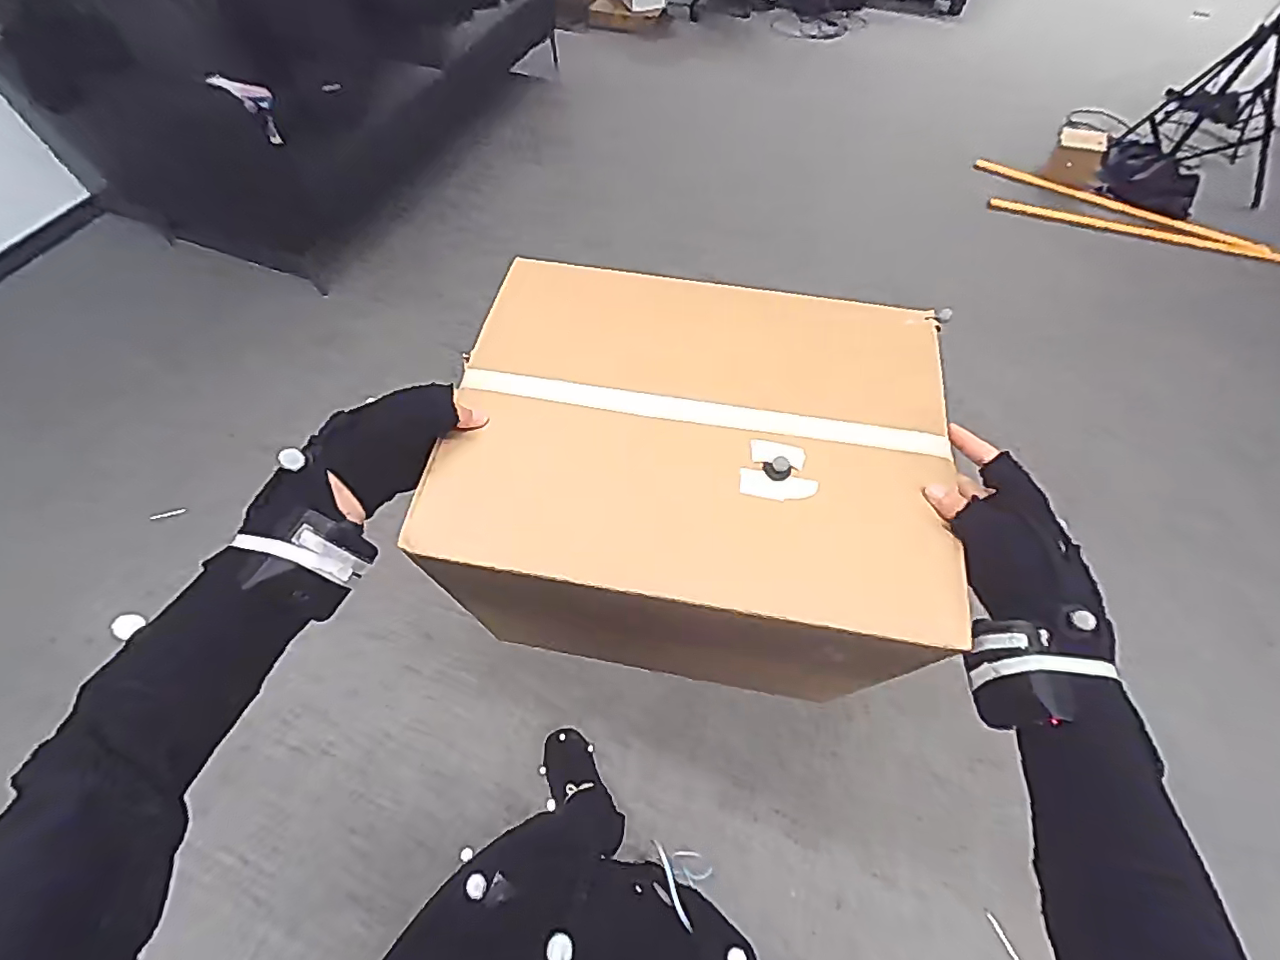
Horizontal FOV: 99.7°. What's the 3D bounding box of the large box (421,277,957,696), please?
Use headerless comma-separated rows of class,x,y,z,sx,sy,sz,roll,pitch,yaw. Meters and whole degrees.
large box,0.048,0.024,0.593,0.408,0.320,0.320,9,62,3
